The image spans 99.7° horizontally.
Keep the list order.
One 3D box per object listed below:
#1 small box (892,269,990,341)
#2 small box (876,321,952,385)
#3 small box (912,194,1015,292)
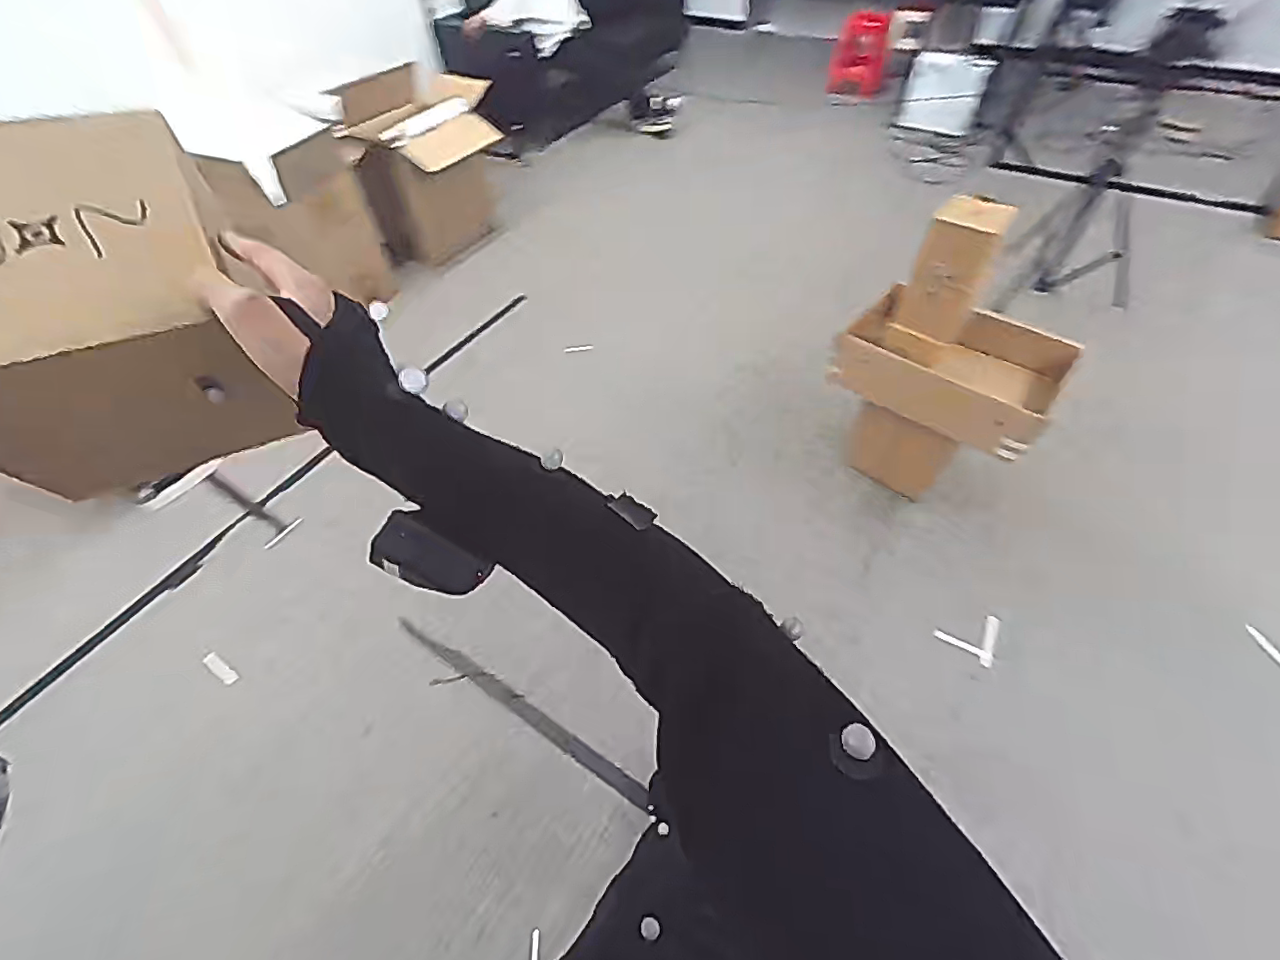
[{"bbox_3d":[0.881,-0.540,1.597,0.179,0.176,0.168,34,60,25],"label":"small box"},{"bbox_3d":[0.877,-0.434,1.723,0.168,0.176,0.179,32,59,24],"label":"small box"},{"bbox_3d":[0.872,-0.645,1.471,0.168,0.176,0.179,31,58,25],"label":"small box"}]
